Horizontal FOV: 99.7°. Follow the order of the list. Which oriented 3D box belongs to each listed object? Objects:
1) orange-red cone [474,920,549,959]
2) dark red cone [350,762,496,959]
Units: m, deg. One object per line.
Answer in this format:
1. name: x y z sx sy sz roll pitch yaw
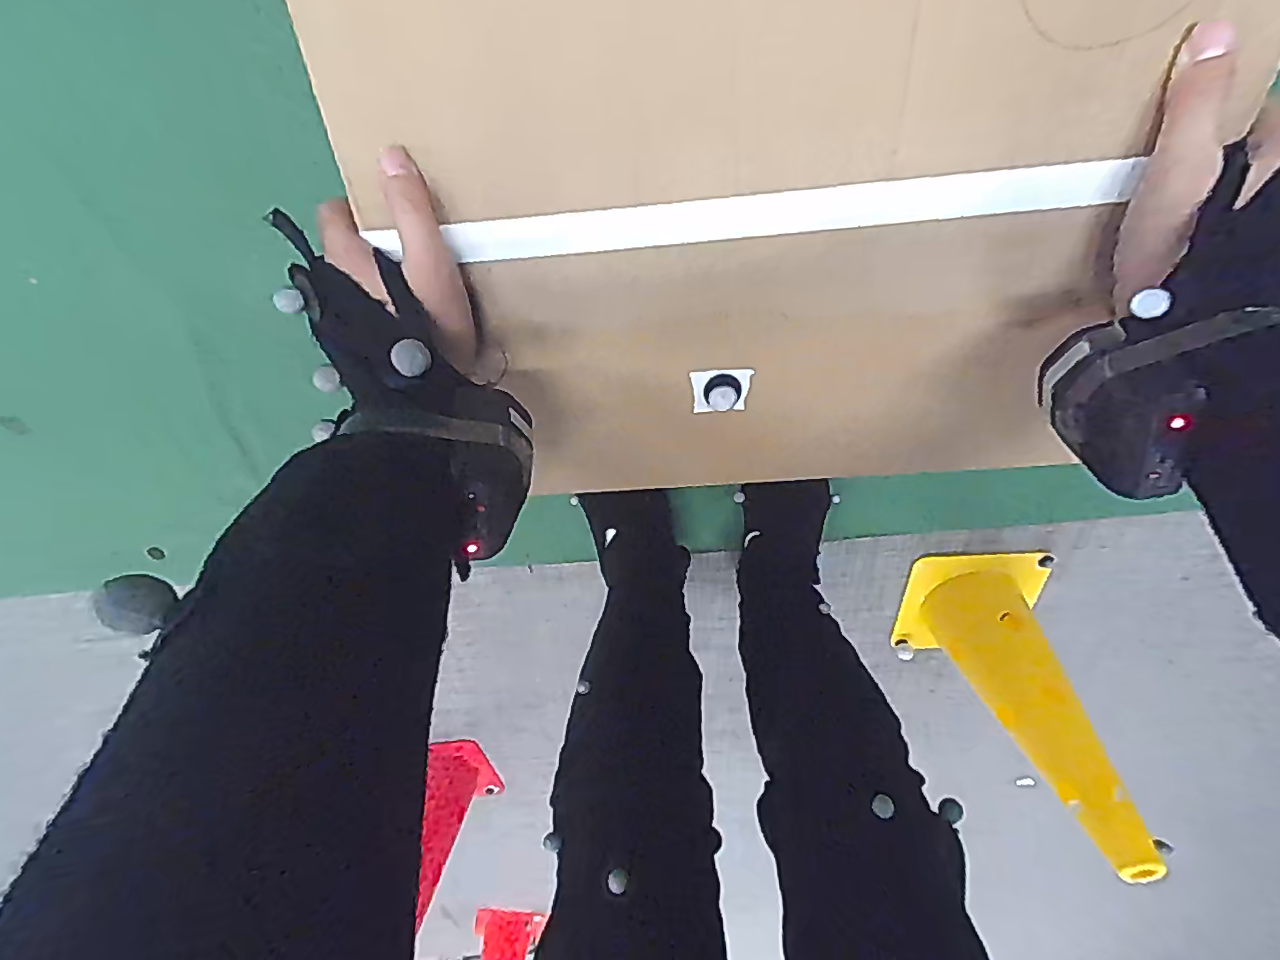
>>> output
1. orange-red cone: -0.375 1.393 1.393 0.199 0.360 0.198 13 121 -5
2. dark red cone: -0.409 0.701 0.925 0.202 0.394 0.201 -11 119 9
